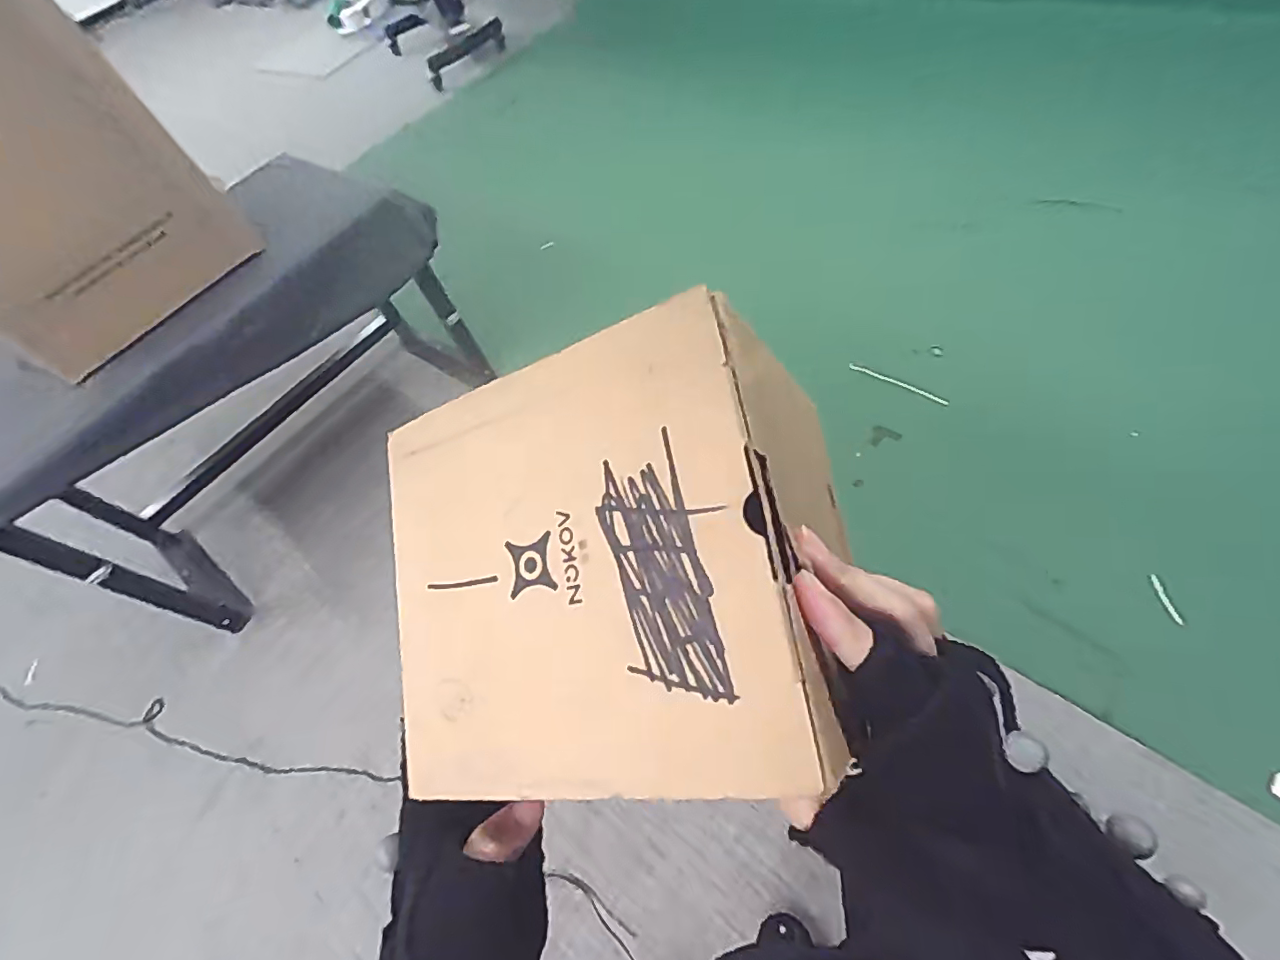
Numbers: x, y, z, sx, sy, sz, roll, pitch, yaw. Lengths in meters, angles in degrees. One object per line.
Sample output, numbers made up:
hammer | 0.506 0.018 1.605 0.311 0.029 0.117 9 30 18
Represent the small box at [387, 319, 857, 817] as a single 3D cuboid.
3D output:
small box | 0.004 0.050 0.285 0.179 0.176 0.168 -20 74 23
